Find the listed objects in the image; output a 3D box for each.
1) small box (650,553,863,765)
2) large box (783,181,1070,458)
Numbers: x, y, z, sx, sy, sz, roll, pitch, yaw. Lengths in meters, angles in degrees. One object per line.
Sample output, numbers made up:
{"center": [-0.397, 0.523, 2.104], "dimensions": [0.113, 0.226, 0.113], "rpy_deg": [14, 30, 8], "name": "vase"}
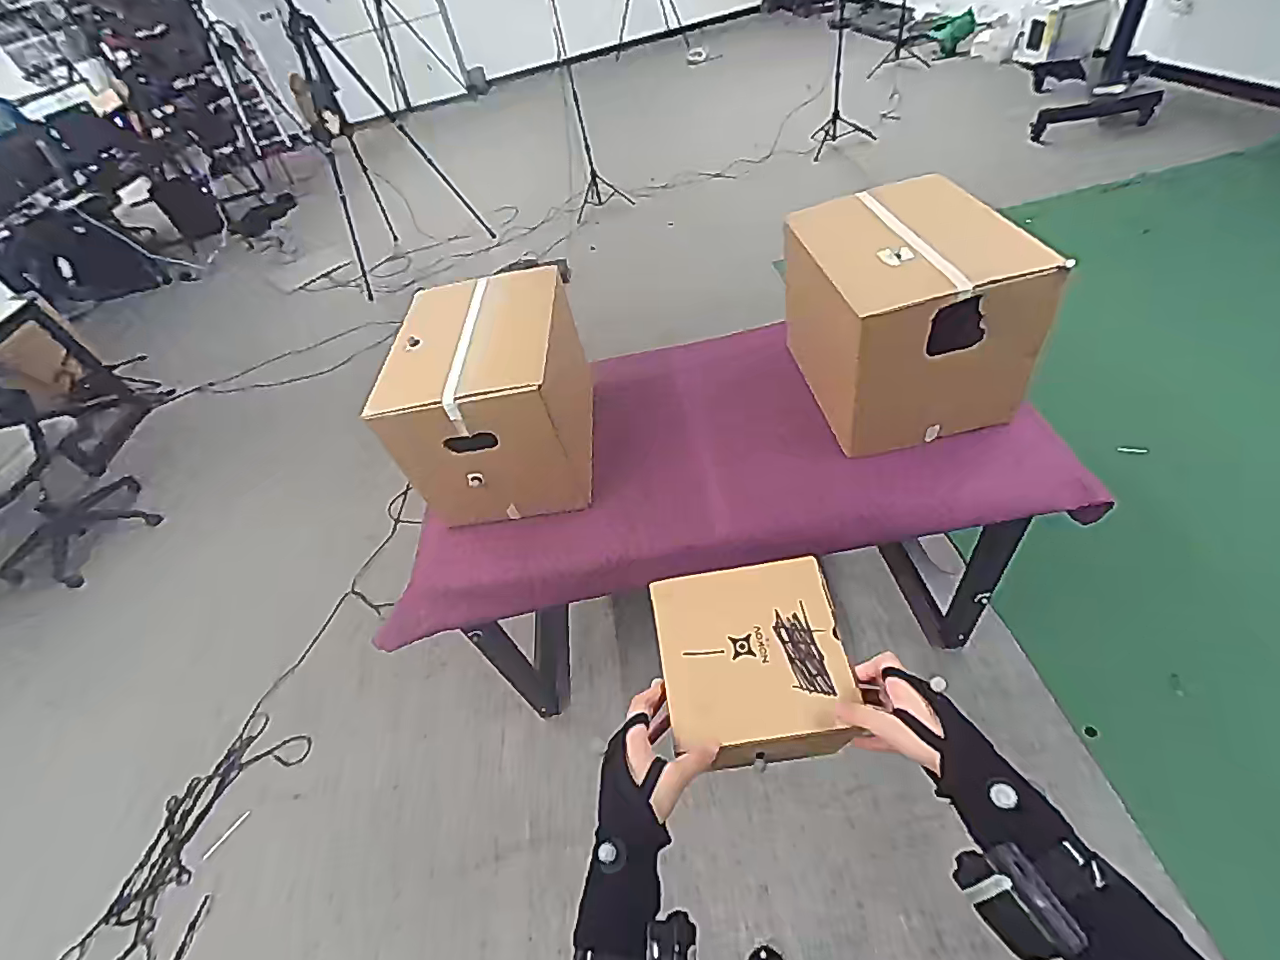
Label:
{"center": [0.110, 0.198, 0.582], "dimensions": [0.179, 0.176, 0.168], "rpy_deg": [-9, 55, 2], "name": "small box"}
{"center": [0.489, -0.312, 1.042], "dimensions": [0.320, 0.320, 0.408], "rpy_deg": [-14, 47, 5], "name": "large box"}
